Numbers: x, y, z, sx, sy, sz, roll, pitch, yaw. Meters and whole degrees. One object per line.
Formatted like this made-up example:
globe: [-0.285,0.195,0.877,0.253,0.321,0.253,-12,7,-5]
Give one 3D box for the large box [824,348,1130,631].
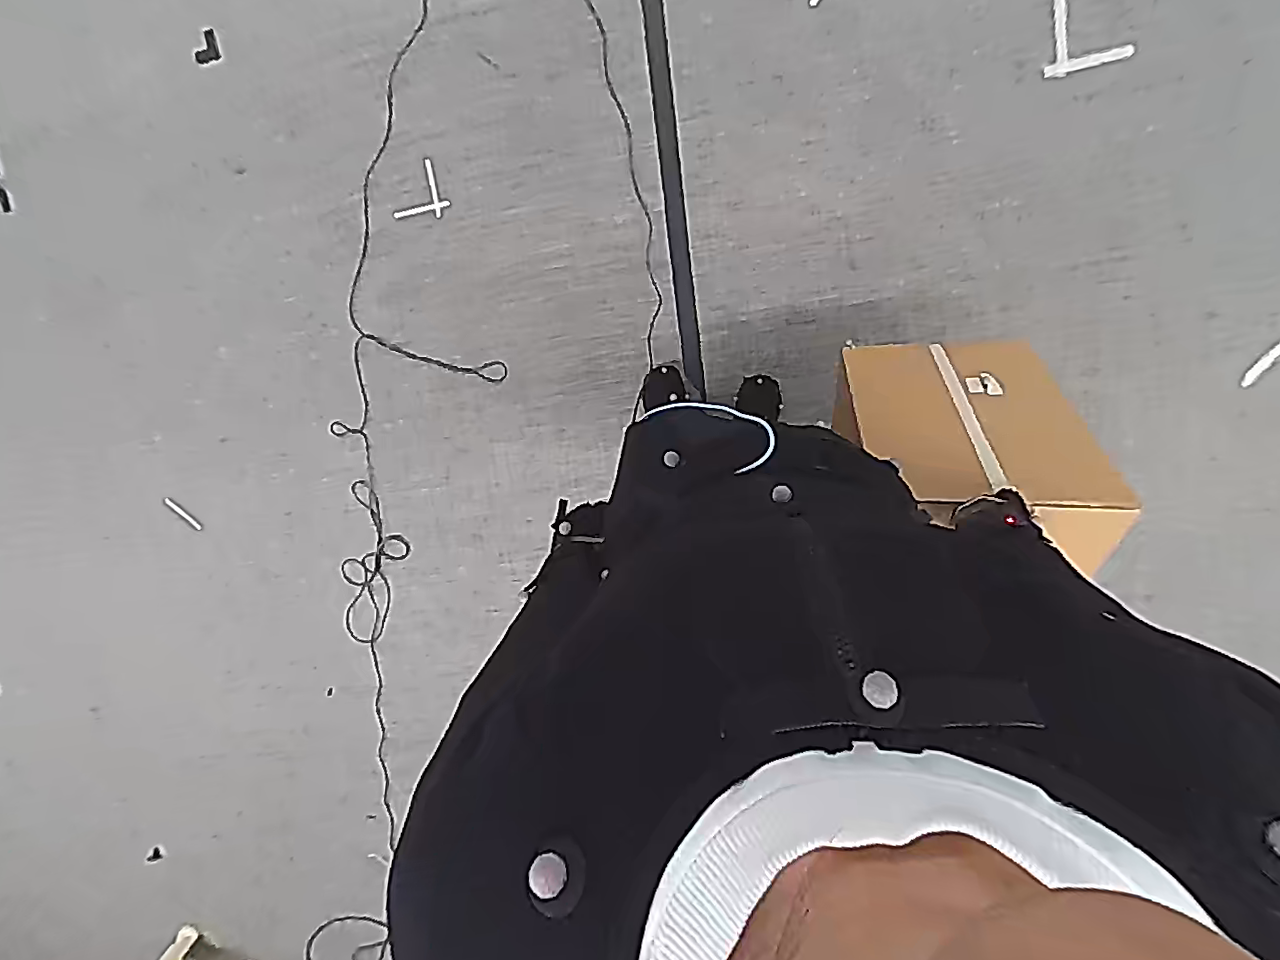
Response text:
large box: [0.515,0.008,0.948,0.320,0.408,0.320,1,132,10]
